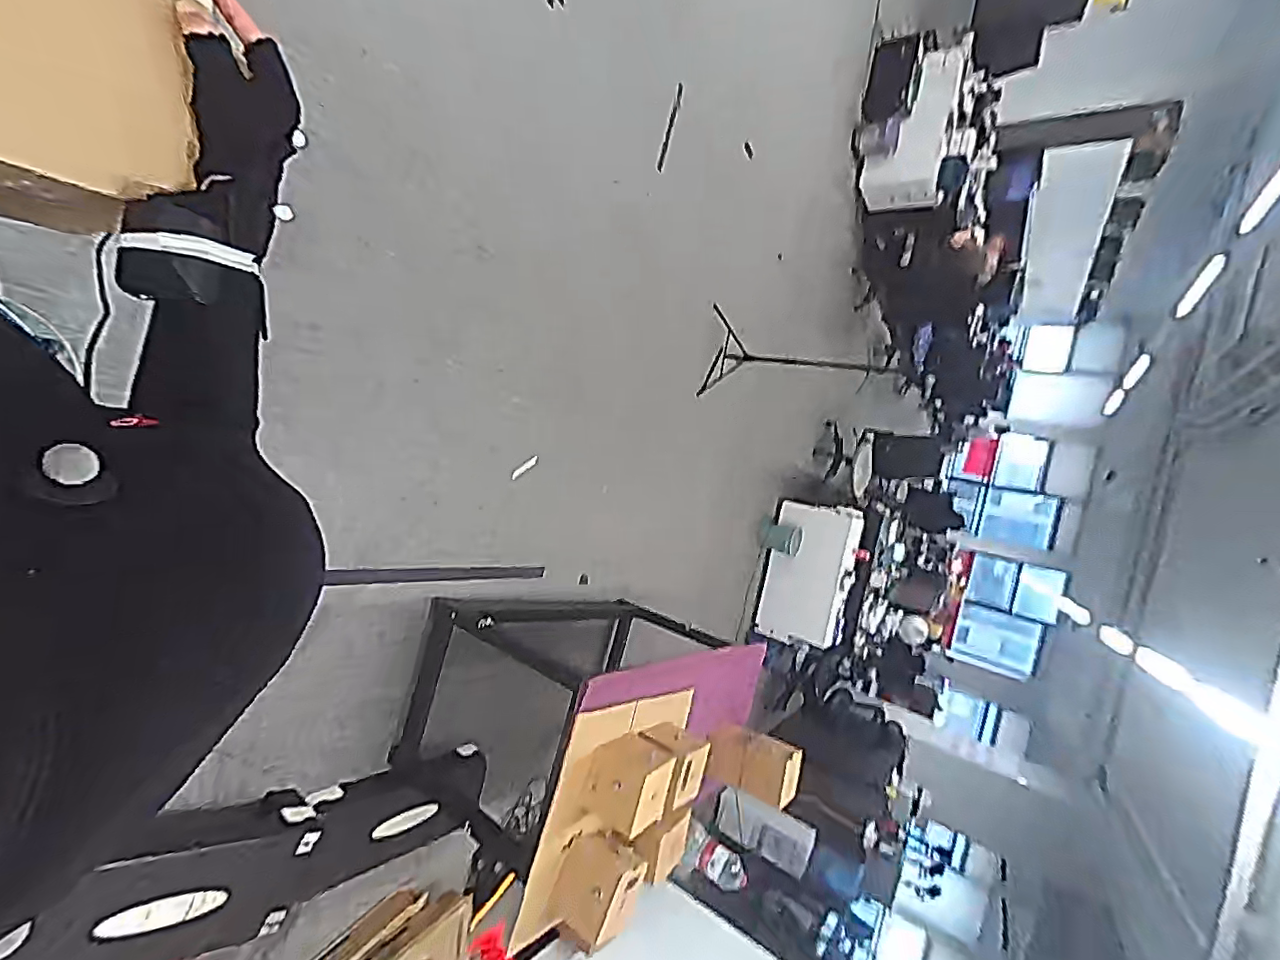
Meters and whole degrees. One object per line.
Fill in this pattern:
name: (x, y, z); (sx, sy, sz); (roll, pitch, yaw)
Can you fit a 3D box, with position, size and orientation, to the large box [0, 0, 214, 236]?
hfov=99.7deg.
large box: (-0.547, -0.371, 0.310); (0.408, 0.320, 0.320); (0, 103, -58)
